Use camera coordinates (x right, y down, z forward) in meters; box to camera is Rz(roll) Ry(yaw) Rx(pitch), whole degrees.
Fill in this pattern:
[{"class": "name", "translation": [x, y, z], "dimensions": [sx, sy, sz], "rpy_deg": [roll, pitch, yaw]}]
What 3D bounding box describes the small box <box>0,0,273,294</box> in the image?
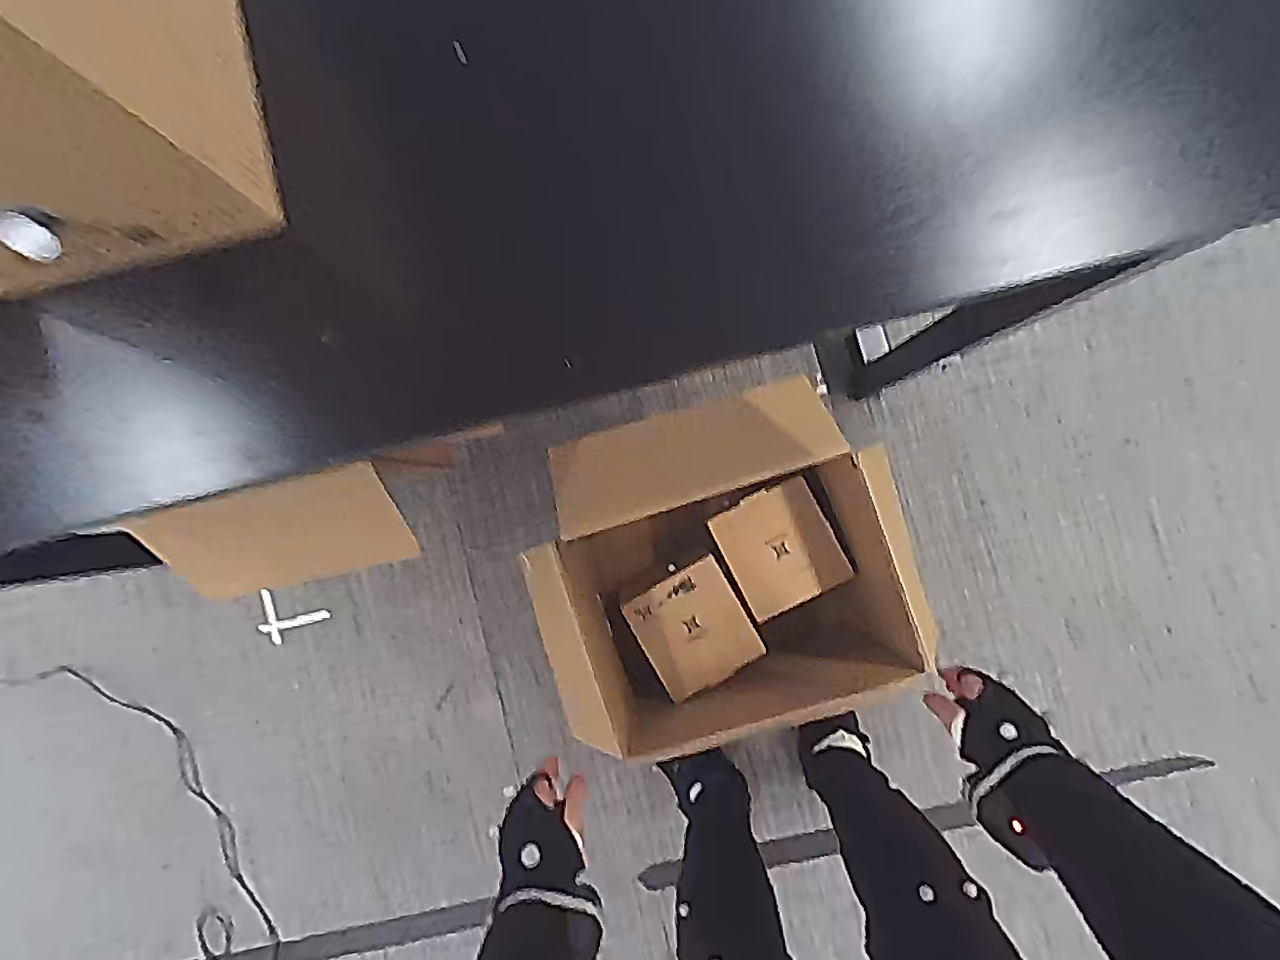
[{"class": "small box", "translation": [-0.294, -0.203, 0.218], "dimensions": [0.168, 0.176, 0.179], "rpy_deg": [-13, 88, 1]}]
